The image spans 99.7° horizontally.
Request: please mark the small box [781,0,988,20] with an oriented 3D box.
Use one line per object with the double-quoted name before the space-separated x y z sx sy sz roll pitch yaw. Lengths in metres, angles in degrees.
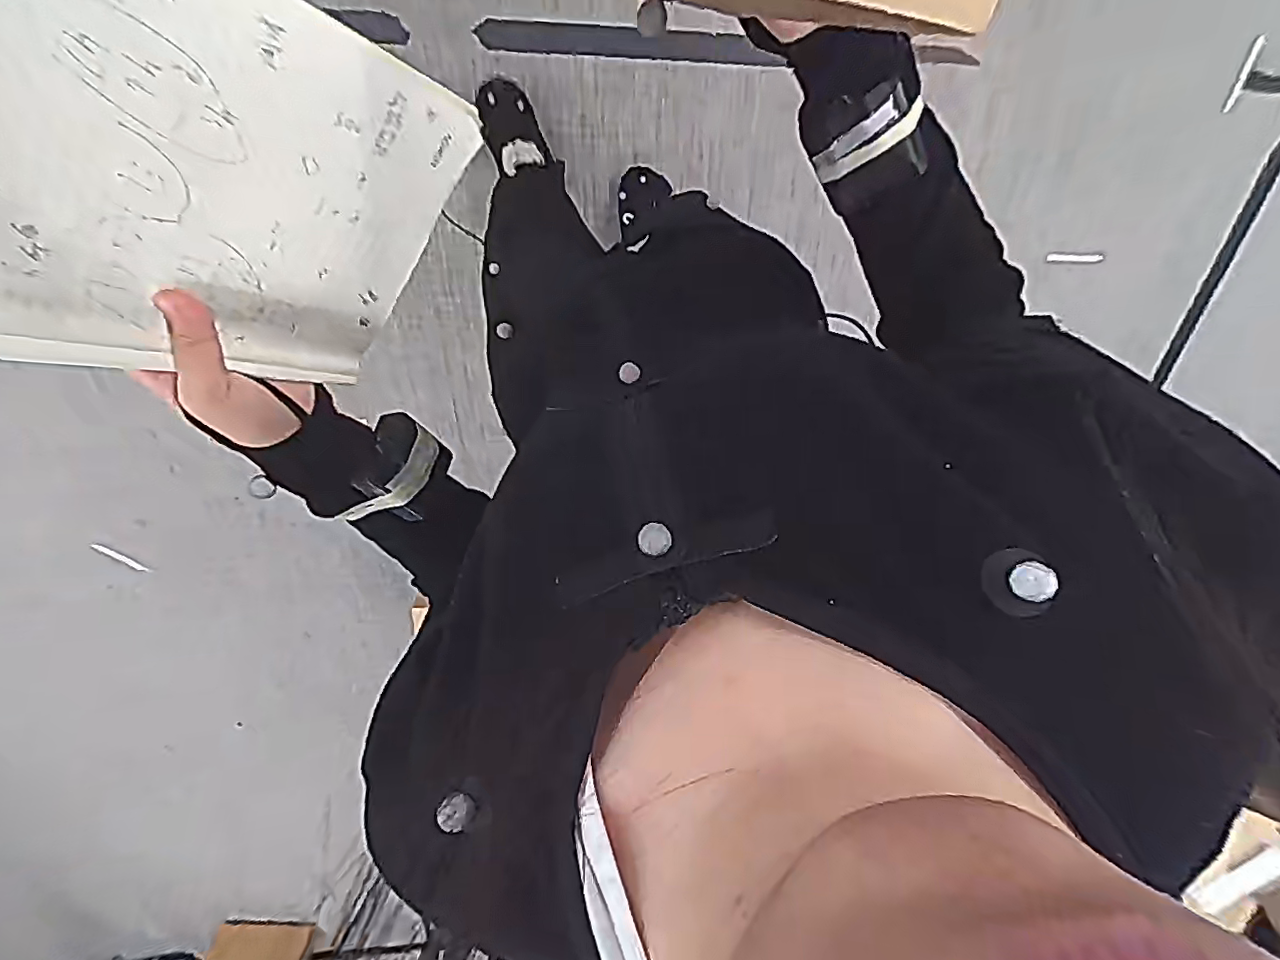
"small box" 0.040 -0.281 0.183 0.179 0.176 0.168 -20 137 -31
